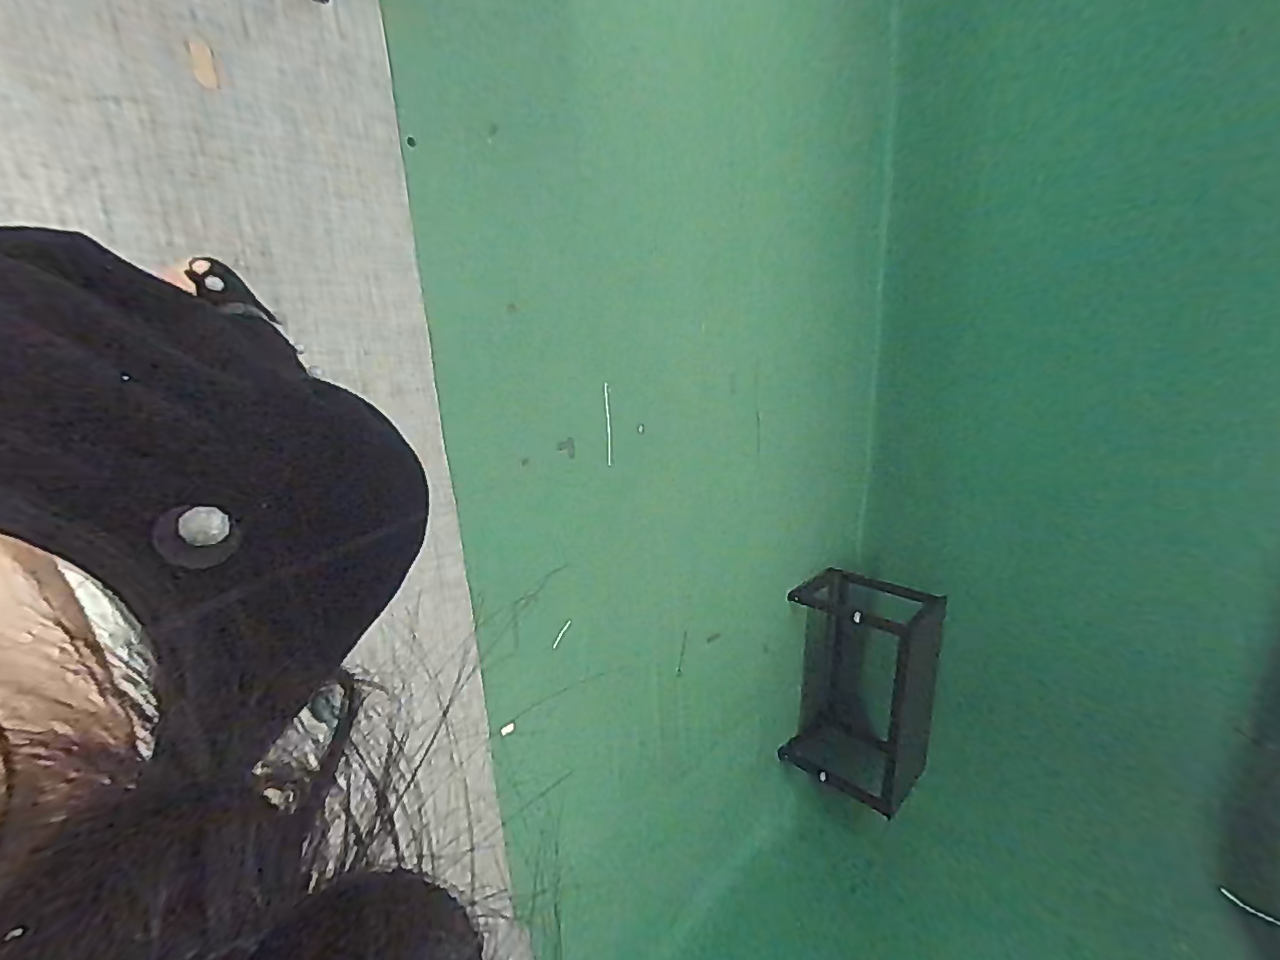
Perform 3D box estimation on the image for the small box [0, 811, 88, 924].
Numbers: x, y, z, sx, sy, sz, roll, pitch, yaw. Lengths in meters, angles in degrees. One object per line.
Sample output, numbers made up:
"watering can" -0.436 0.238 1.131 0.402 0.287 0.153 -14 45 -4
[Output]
"small box" -1.193 0.777 1.015 0.179 0.176 0.168 -28 117 -39
